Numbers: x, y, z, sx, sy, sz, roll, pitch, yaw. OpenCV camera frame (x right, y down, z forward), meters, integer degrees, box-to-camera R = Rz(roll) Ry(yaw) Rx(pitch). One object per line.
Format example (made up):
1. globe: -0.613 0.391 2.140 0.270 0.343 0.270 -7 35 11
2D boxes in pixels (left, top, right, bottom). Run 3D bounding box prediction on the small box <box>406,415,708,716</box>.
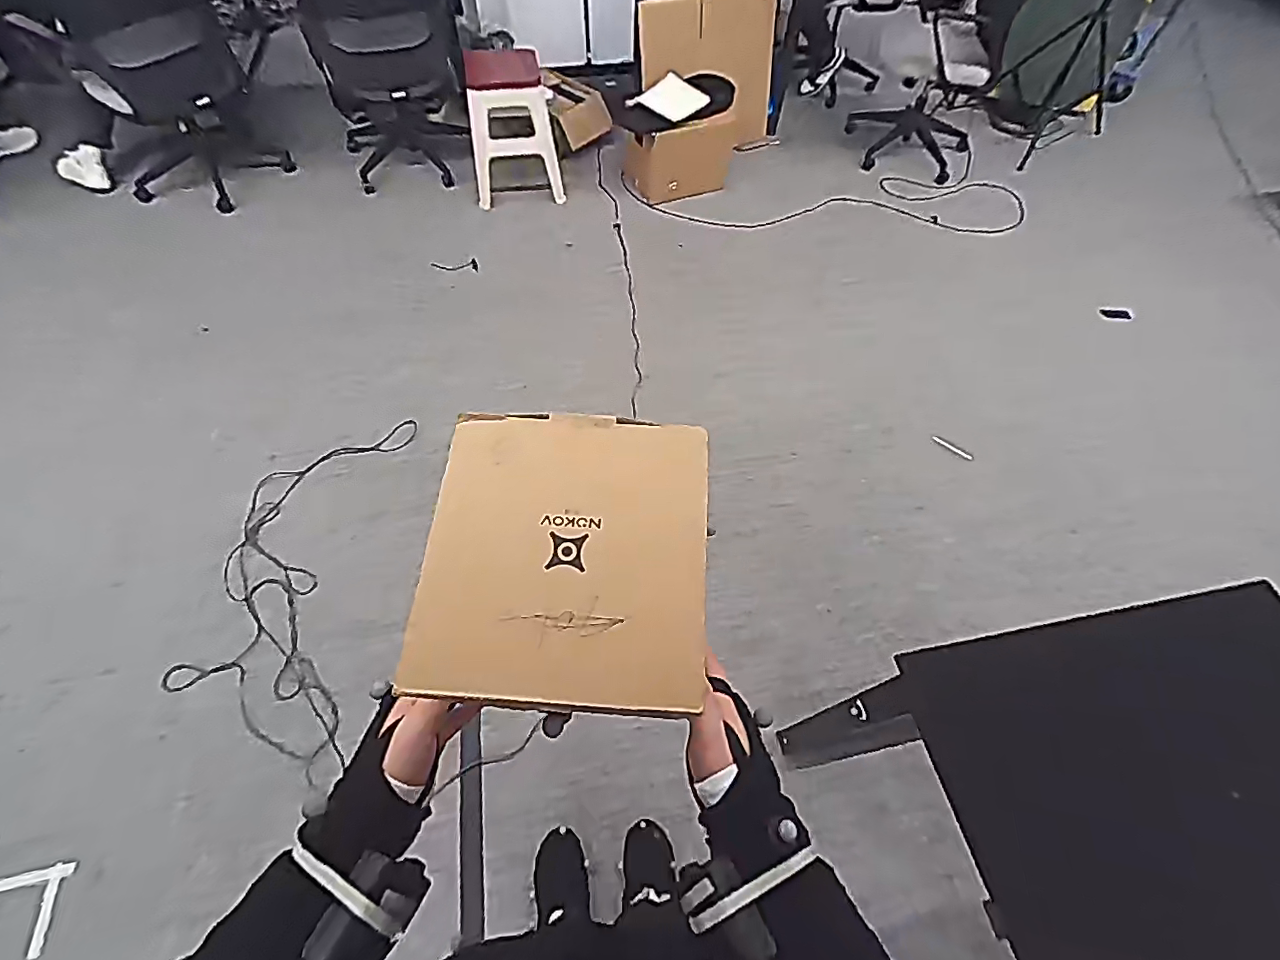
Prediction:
1. small box: -0.042 0.072 0.397 0.168 0.176 0.179 3 66 1
